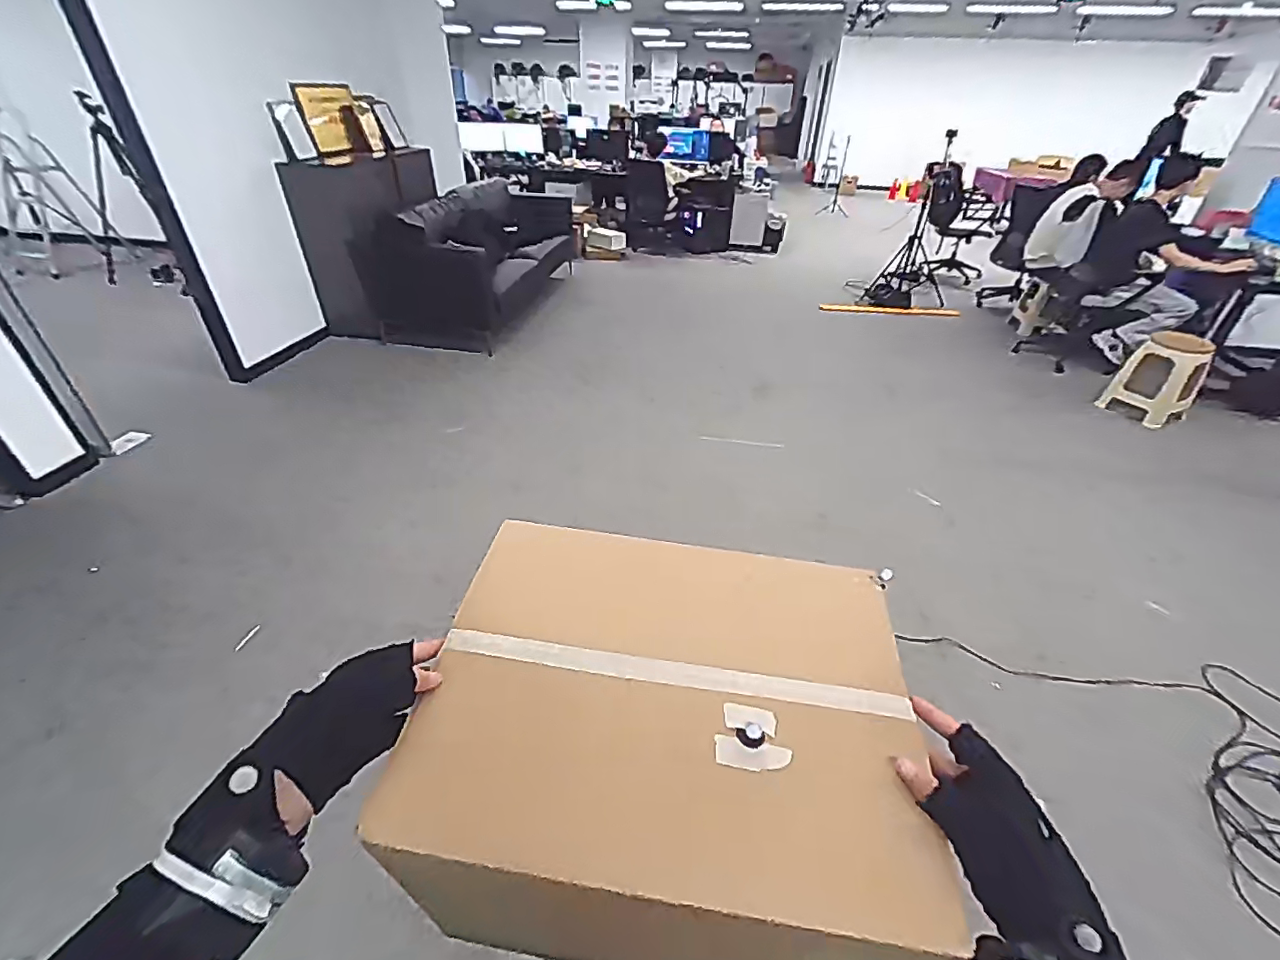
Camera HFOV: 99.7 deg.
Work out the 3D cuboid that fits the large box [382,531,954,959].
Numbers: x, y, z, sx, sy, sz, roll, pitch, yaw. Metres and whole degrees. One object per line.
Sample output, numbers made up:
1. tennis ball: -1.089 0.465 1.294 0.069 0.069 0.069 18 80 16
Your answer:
1. large box: 0.023 0.288 0.575 0.408 0.320 0.320 7 41 5
